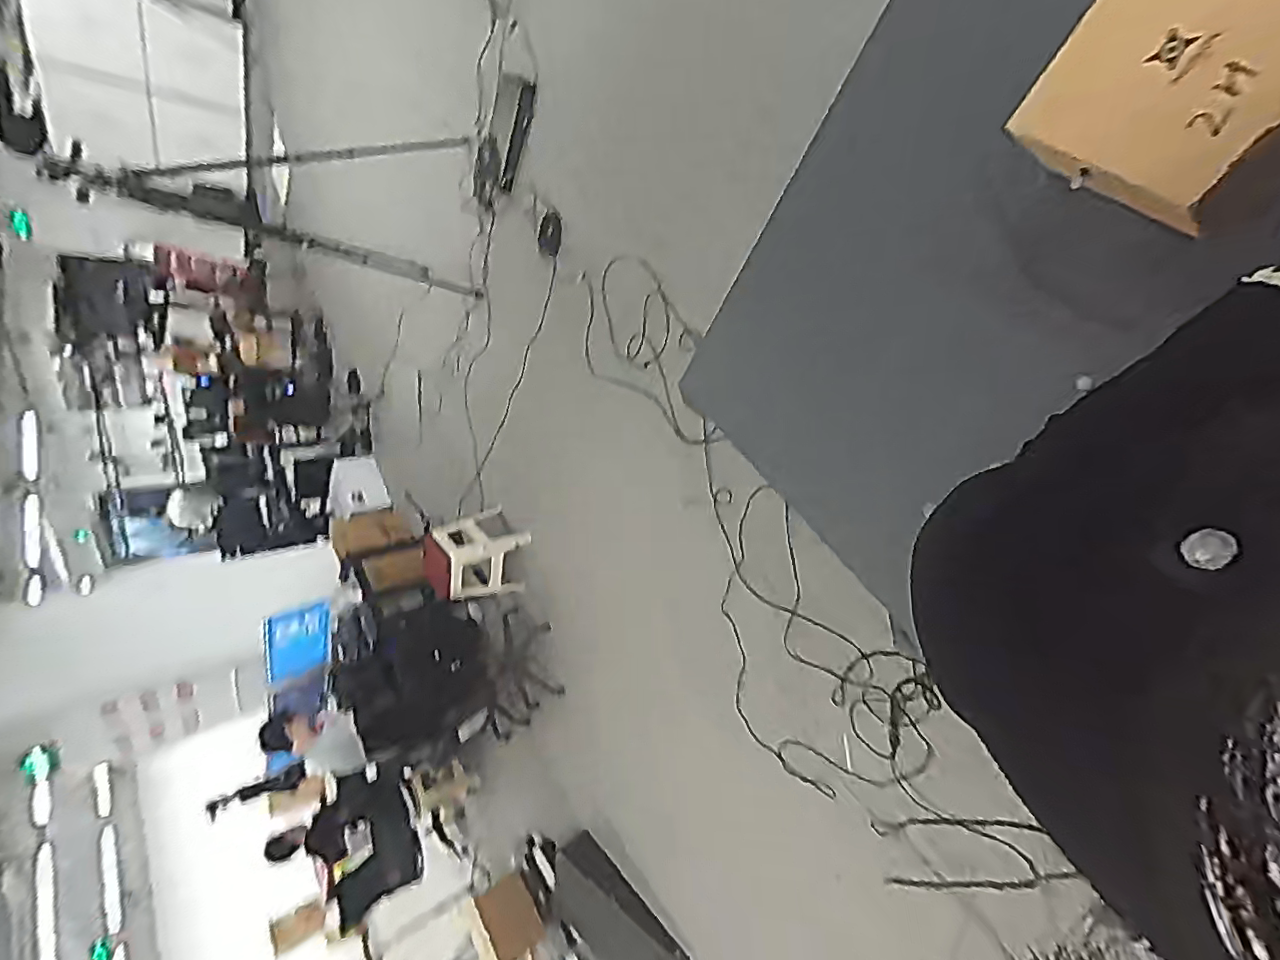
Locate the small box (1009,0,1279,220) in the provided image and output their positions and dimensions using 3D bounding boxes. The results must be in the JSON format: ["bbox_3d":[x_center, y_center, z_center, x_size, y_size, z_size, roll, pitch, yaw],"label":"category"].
[{"bbox_3d":[0.484,-0.353,0.476,0.179,0.176,0.168,51,132,28],"label":"small box"}]
